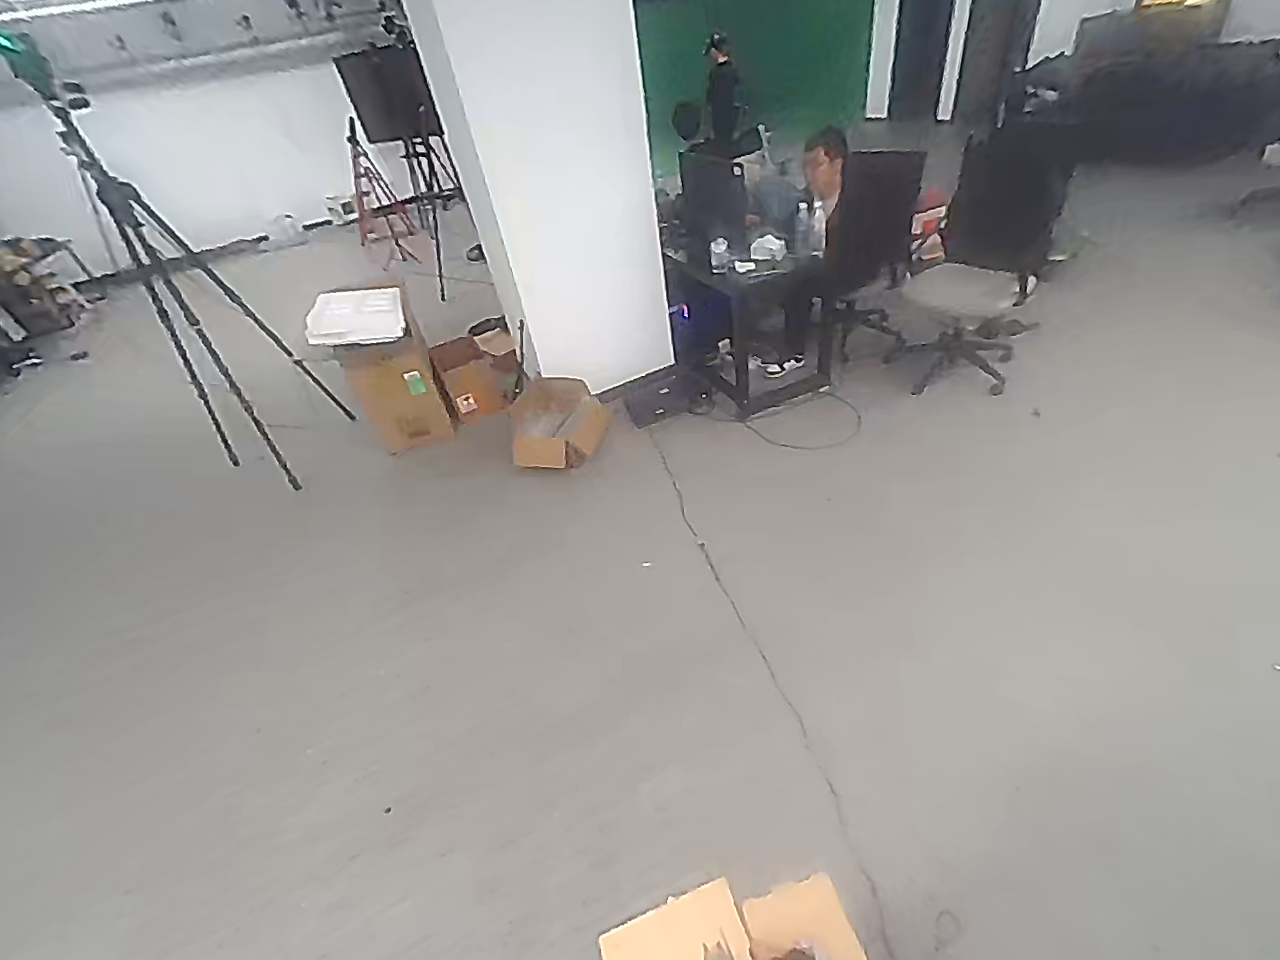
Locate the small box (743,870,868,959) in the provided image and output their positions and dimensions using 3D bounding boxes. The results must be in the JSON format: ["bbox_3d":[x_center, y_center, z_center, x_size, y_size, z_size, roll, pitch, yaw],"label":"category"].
[{"bbox_3d":[0.288,0.823,0.930,0.168,0.176,0.179,-17,38,-6],"label":"small box"}]

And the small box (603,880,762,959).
[{"bbox_3d":[0.068,0.645,0.674,0.179,0.176,0.168,-18,41,-11],"label":"small box"}]
